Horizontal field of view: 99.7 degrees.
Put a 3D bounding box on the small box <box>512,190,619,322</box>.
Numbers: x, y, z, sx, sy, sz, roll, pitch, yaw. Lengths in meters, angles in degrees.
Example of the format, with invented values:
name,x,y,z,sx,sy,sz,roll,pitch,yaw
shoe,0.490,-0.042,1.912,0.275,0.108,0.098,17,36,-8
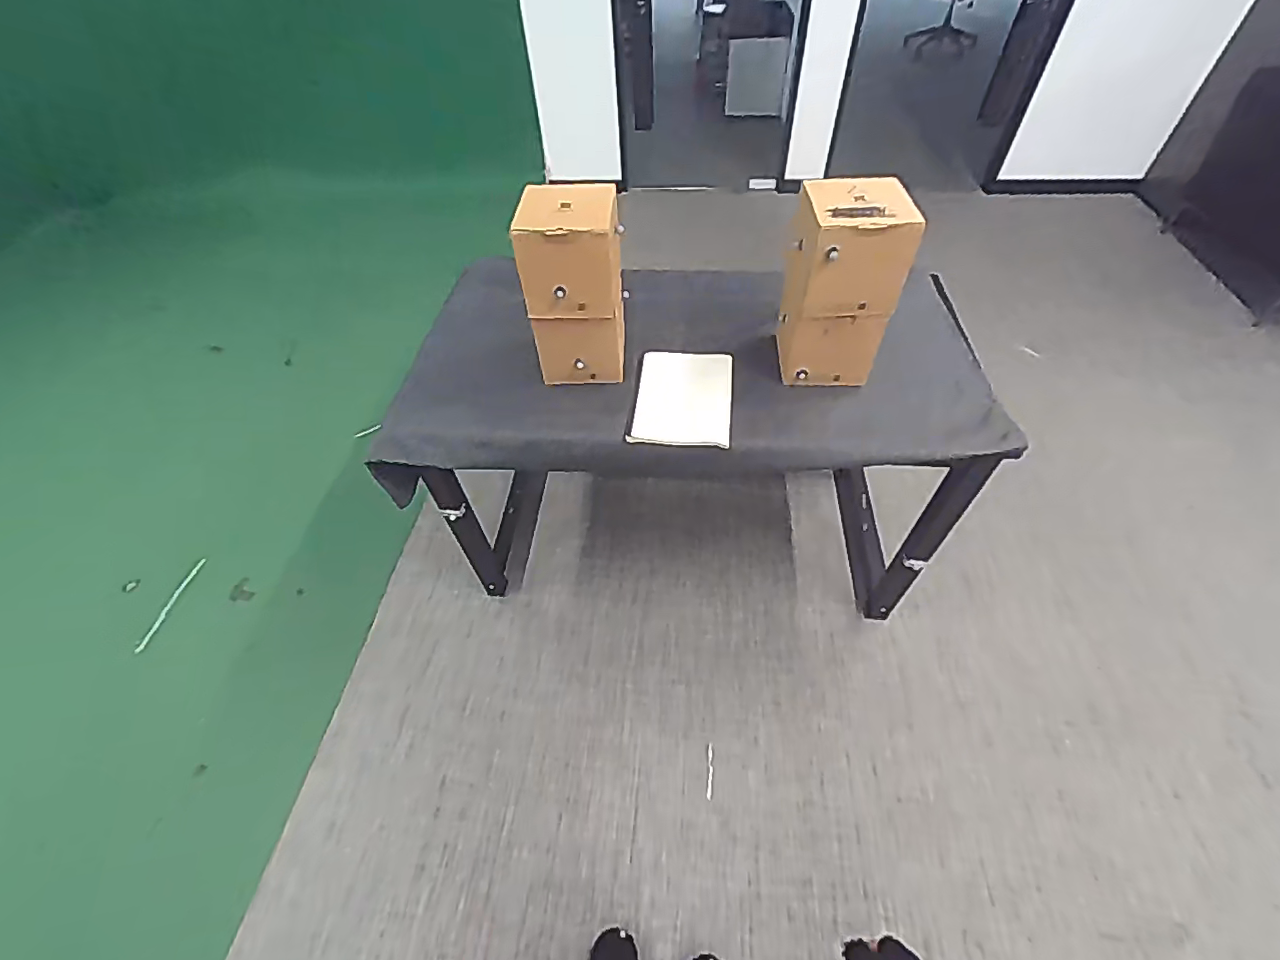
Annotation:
name,x,y,z,sx,sy,sz,roll,pitch,yaw
small box,-0.126,-0.413,0.996,0.168,0.176,0.179,0,50,2

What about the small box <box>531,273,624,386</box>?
name,x,y,z,sx,sy,sz,roll,pitch,yaw
small box,-0.121,-0.316,1.126,0.168,0.176,0.179,-2,50,2

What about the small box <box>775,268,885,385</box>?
name,x,y,z,sx,sy,sz,roll,pitch,yaw
small box,0.374,-0.309,1.099,0.168,0.176,0.179,2,50,4
